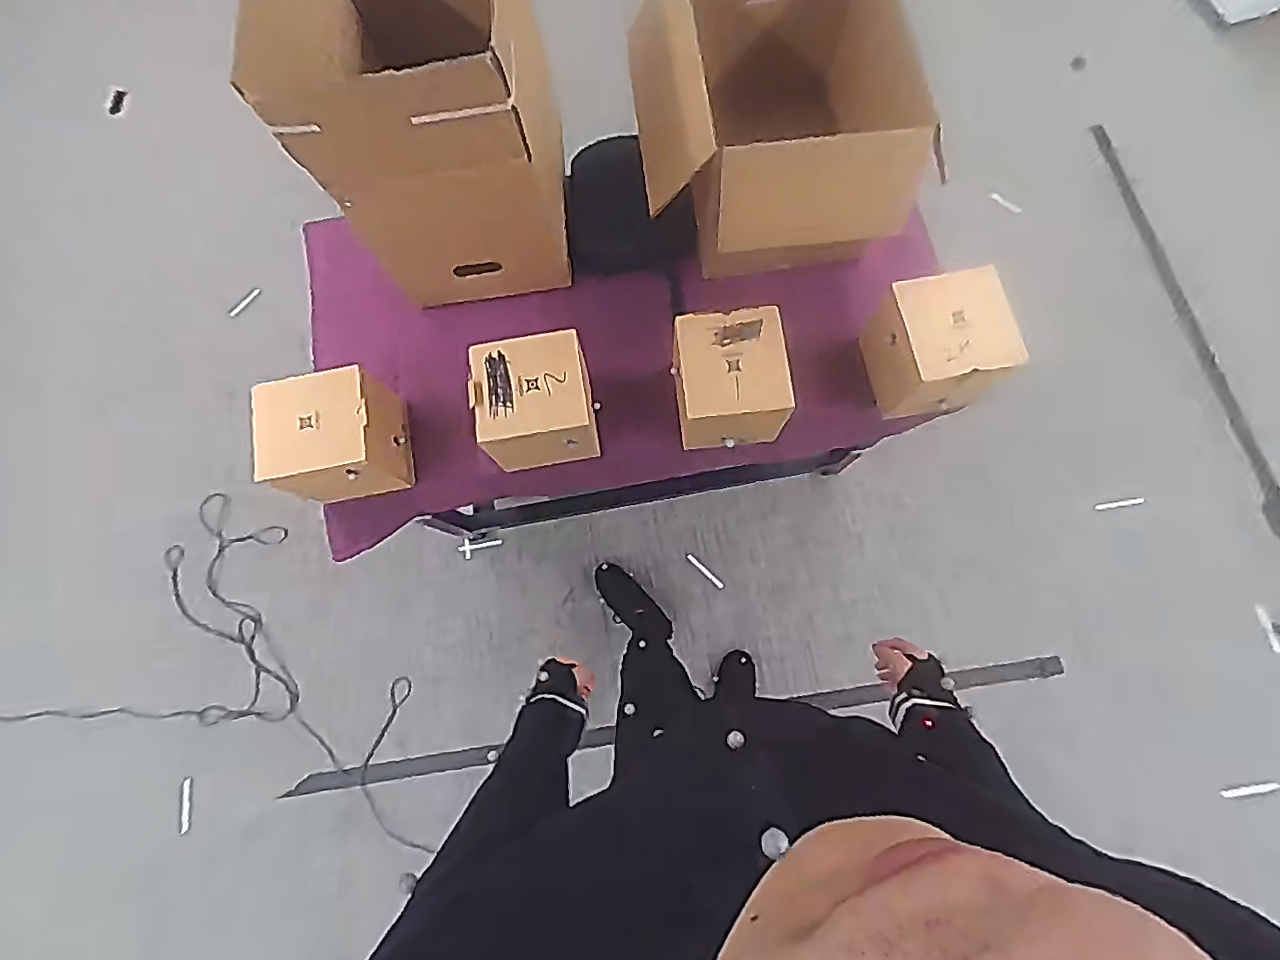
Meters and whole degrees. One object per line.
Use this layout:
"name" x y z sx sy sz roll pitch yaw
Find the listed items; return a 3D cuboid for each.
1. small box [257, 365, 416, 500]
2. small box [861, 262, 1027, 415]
"small box" -0.508 -0.072 0.921 0.179 0.176 0.168 -12 76 -2
"small box" 0.493 -0.230 0.910 0.168 0.176 0.179 -10 76 2
